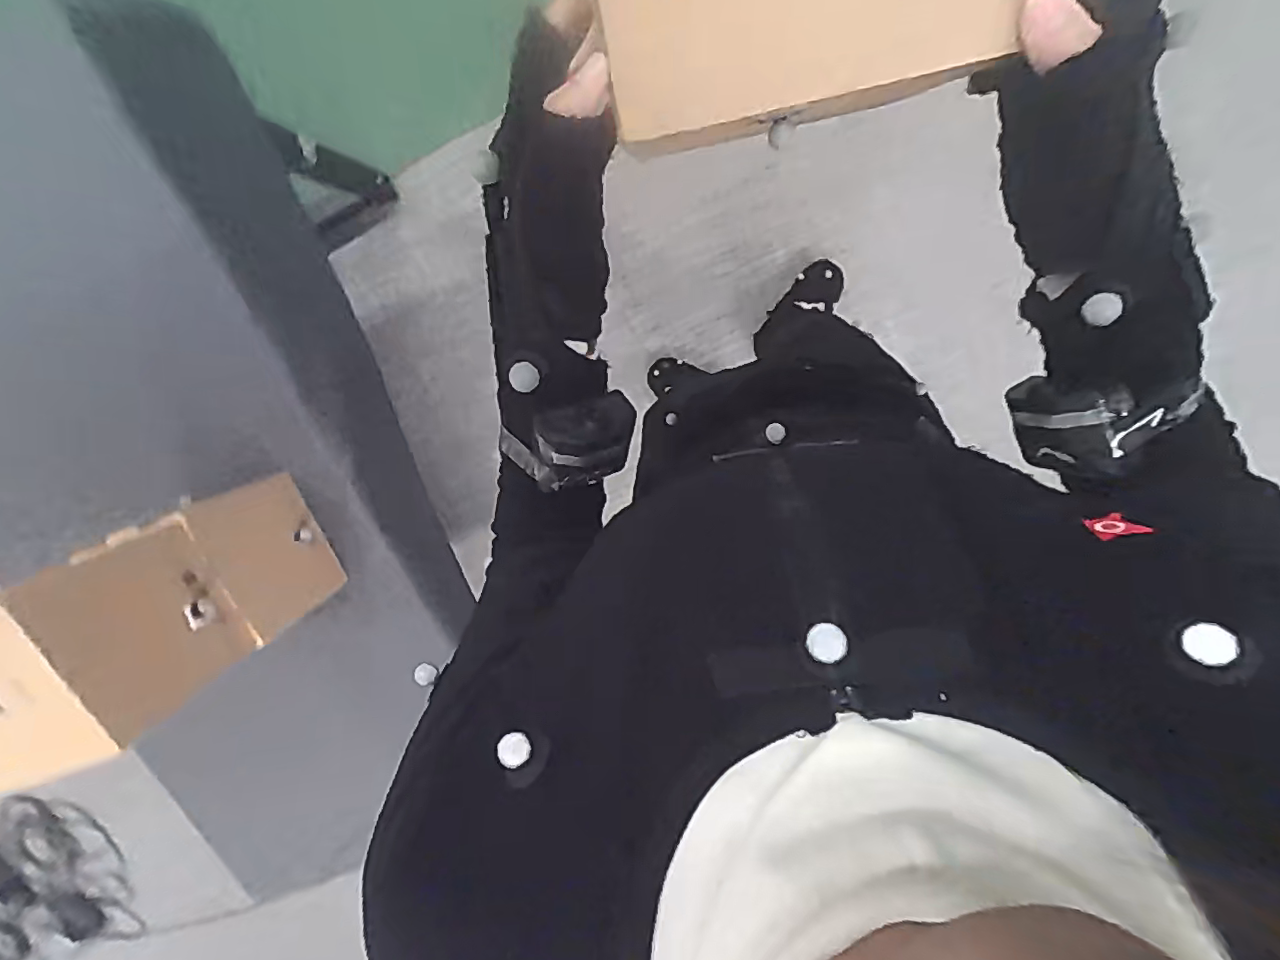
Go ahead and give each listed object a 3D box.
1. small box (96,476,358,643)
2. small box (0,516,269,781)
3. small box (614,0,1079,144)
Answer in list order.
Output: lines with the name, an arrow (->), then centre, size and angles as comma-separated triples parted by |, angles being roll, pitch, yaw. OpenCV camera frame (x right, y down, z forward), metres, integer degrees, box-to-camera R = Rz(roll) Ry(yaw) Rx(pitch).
small box -> -0.518, 0.107, 0.706 | 0.168, 0.176, 0.179 | -20, 104, 11
small box -> -0.541, 0.160, 0.553 | 0.179, 0.176, 0.168 | -22, 105, 10
small box -> 0.074, -0.271, 0.253 | 0.179, 0.176, 0.168 | -8, 118, 7
